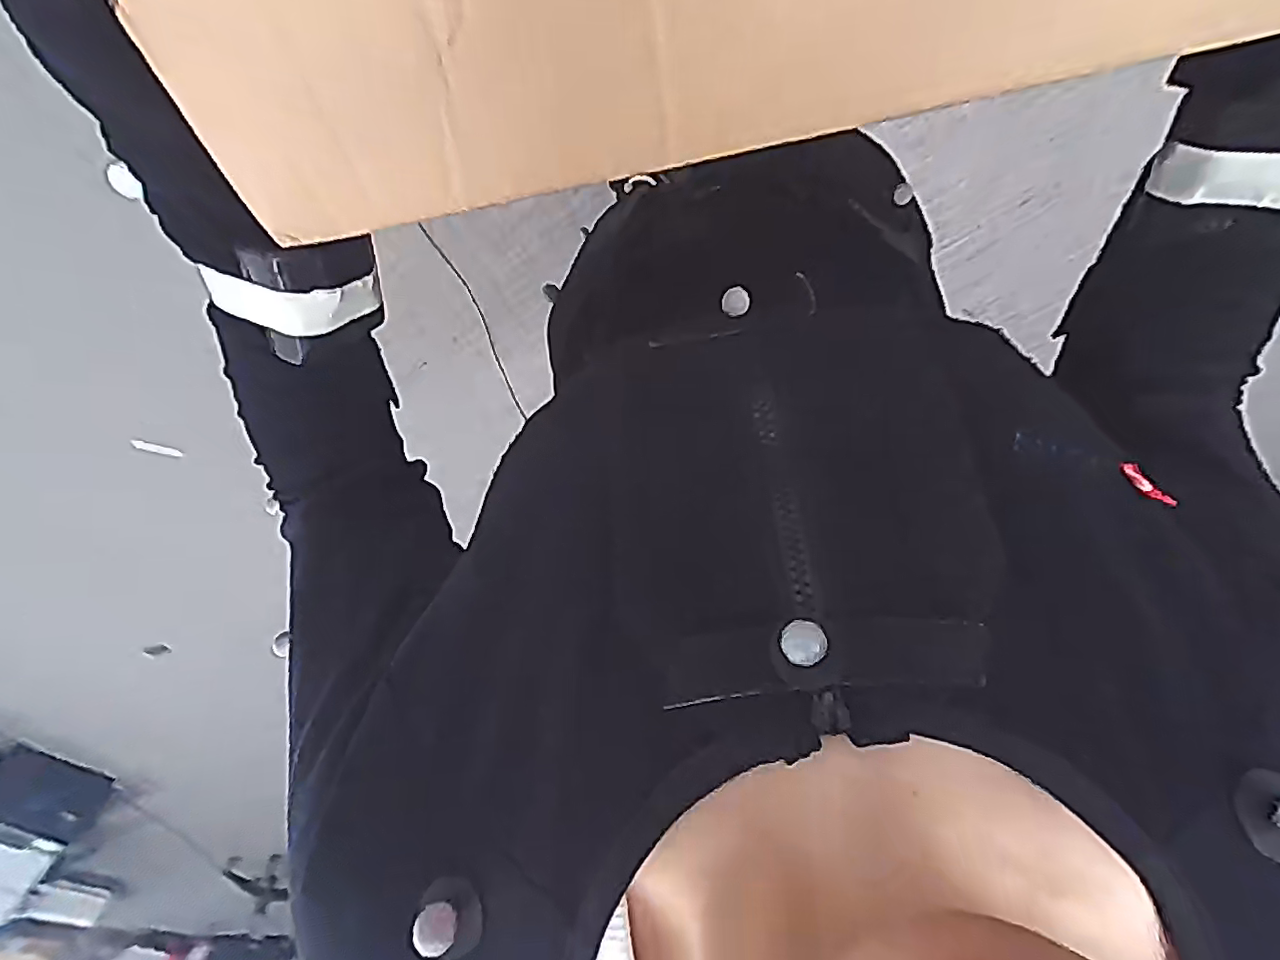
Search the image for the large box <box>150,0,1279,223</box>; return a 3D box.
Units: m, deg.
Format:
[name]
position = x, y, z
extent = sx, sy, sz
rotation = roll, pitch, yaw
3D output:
[large box]
position = 0.014, -0.351, 0.199
extent = 0.408, 0.320, 0.320
rotation = -9, 137, 5
